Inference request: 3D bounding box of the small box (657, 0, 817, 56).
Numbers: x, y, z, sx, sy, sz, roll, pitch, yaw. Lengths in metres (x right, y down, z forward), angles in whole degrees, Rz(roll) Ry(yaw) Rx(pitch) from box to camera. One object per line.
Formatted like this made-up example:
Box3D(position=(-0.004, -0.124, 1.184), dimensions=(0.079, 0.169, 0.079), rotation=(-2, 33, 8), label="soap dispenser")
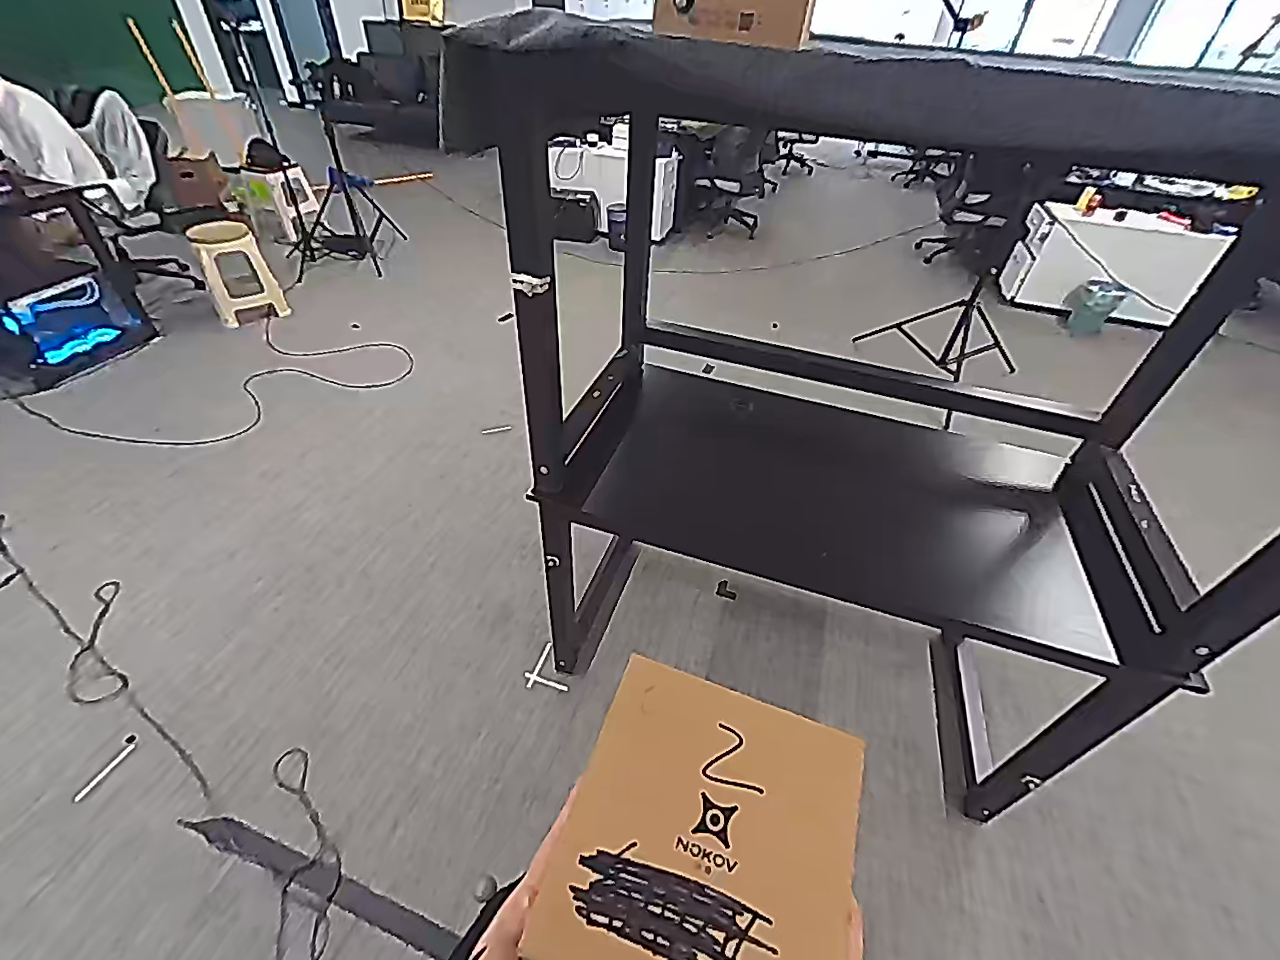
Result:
Box3D(position=(0.120, -0.586, 0.603), dimensions=(0.168, 0.176, 0.179), rotation=(14, 40, 9), label="small box")
